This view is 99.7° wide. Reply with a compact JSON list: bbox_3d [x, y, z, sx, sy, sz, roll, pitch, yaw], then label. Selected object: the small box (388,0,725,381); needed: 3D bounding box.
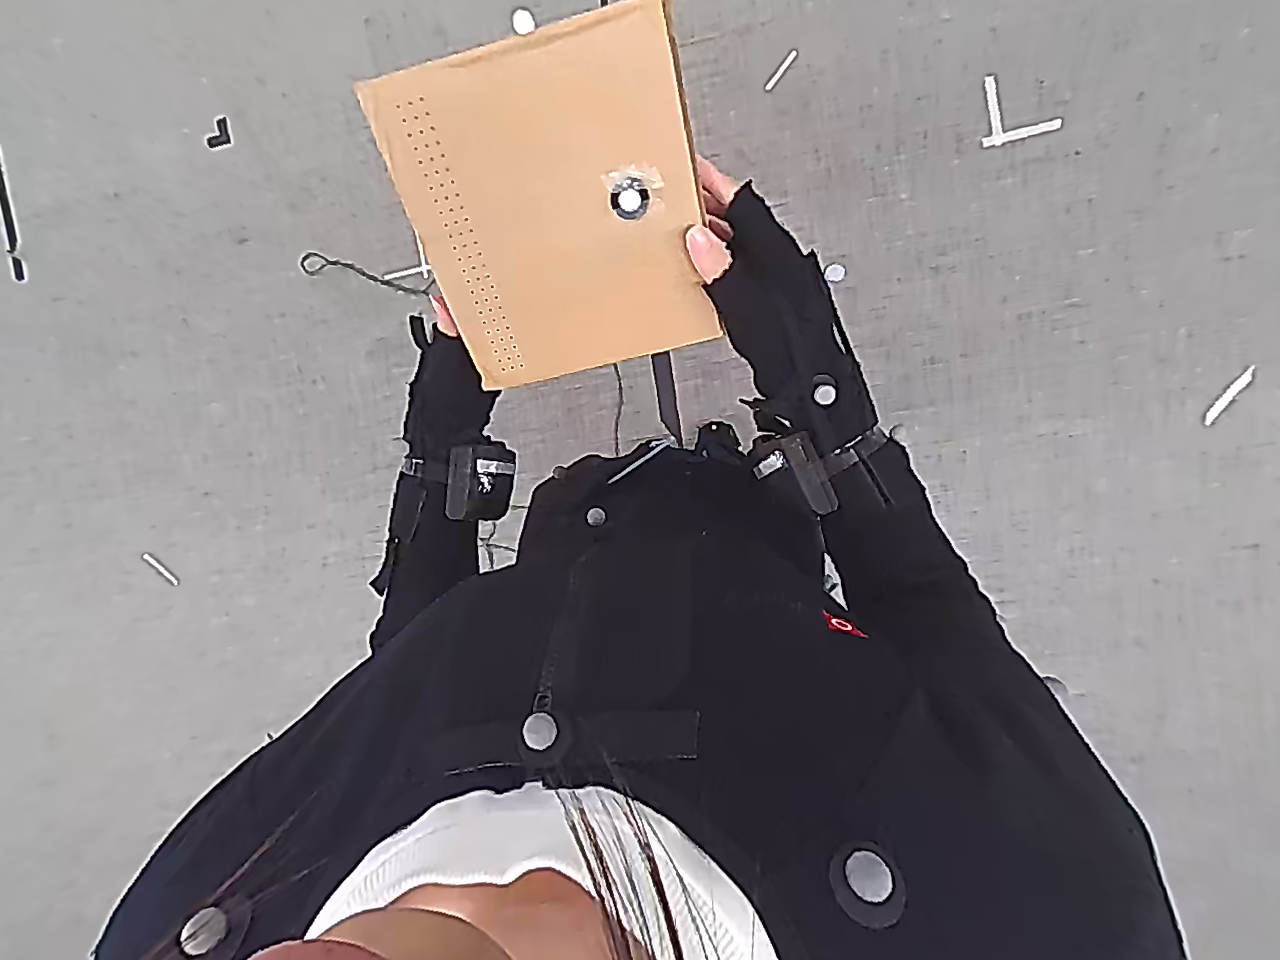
[{"bbox_3d":[-0.046,-0.194,0.390,0.176,0.168,0.179,-12,122,8],"label":"small box"}]
